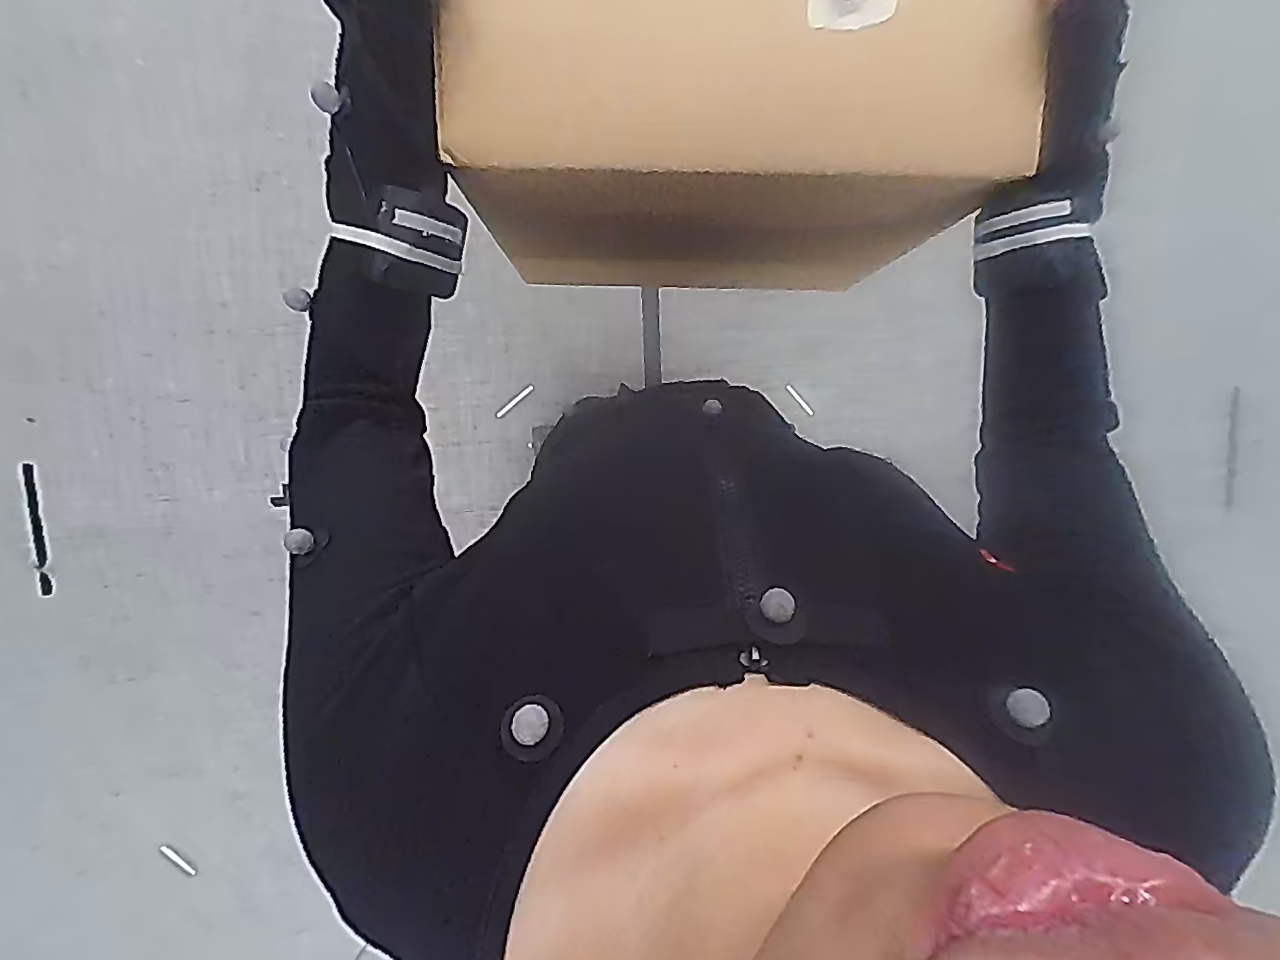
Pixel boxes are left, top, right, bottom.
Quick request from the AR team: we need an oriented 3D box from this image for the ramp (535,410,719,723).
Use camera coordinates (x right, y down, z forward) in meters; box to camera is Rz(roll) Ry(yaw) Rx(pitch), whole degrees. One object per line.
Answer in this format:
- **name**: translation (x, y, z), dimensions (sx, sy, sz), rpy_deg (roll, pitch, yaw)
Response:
- **ramp**: translation (-0.010, 0.296, 1.615), dimensions (0.509, 0.206, 0.991), rpy_deg (-6, 98, -2)

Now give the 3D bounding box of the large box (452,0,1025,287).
- **large box**: translation (0.063, -0.382, 0.515), dimensions (0.408, 0.320, 0.320), rpy_deg (0, 96, -2)
